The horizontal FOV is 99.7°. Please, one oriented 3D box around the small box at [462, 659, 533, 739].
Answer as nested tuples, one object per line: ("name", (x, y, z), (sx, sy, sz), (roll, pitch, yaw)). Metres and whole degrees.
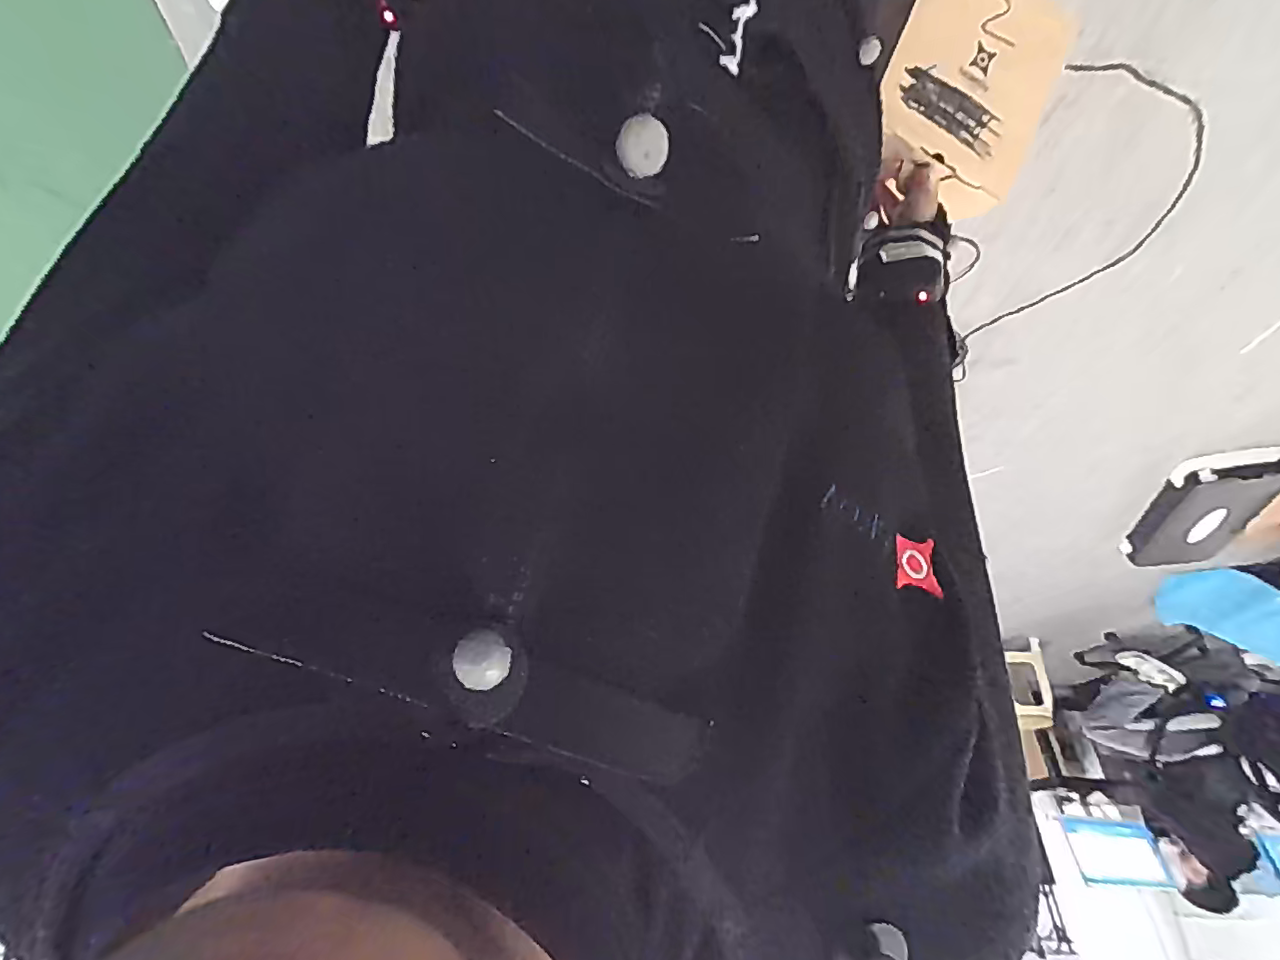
("small box", (-0.402, 0.624, 1.538), (0.168, 0.176, 0.179), (10, 144, -9))
